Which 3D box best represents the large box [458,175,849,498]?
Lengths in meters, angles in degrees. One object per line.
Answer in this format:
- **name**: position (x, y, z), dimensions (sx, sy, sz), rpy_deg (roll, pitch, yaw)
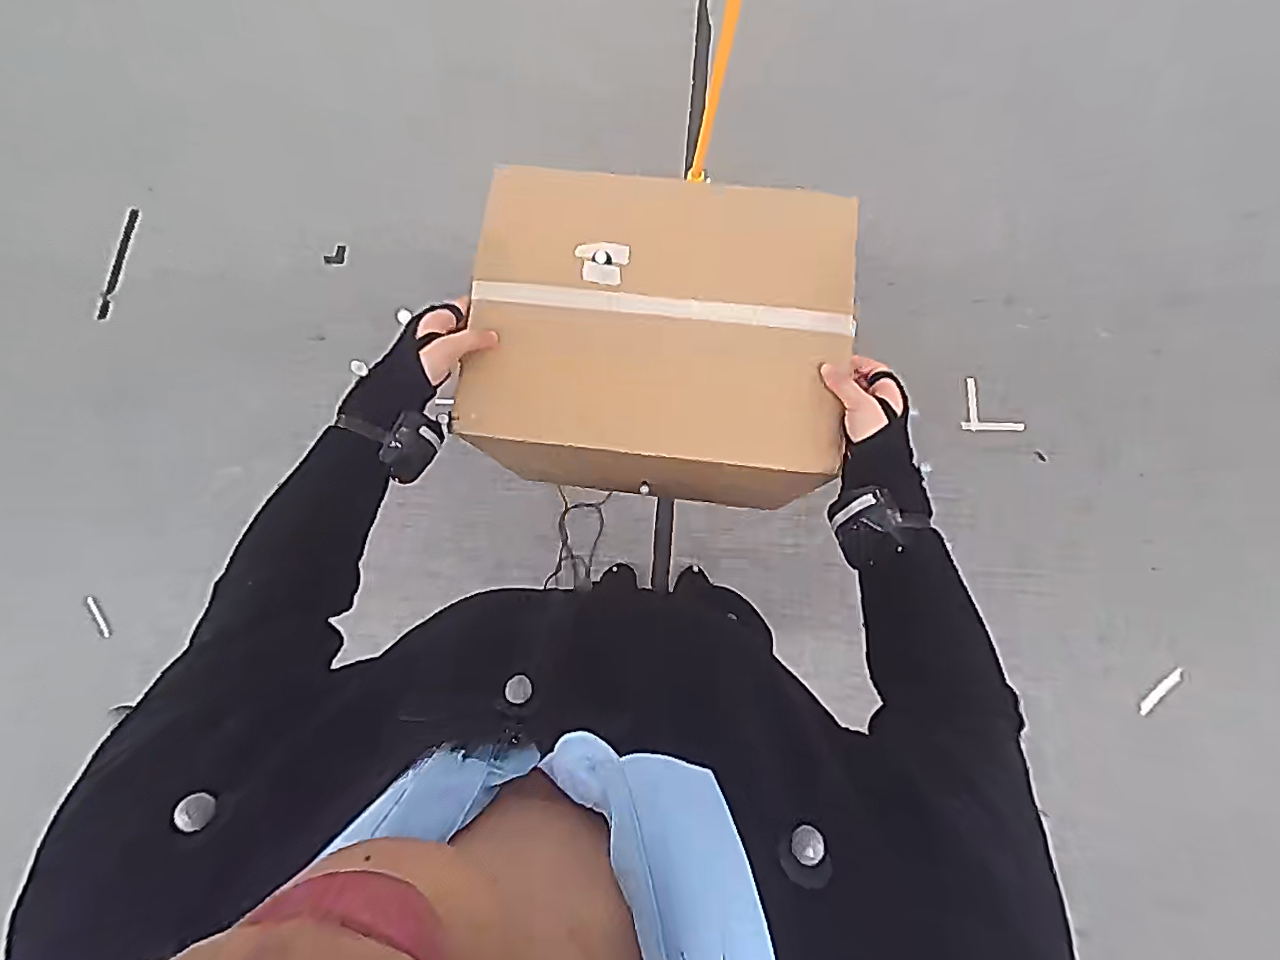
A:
- **large box**: position (0.028, -0.158, 0.726), dimensions (0.408, 0.320, 0.320), rpy_deg (6, 80, 4)
